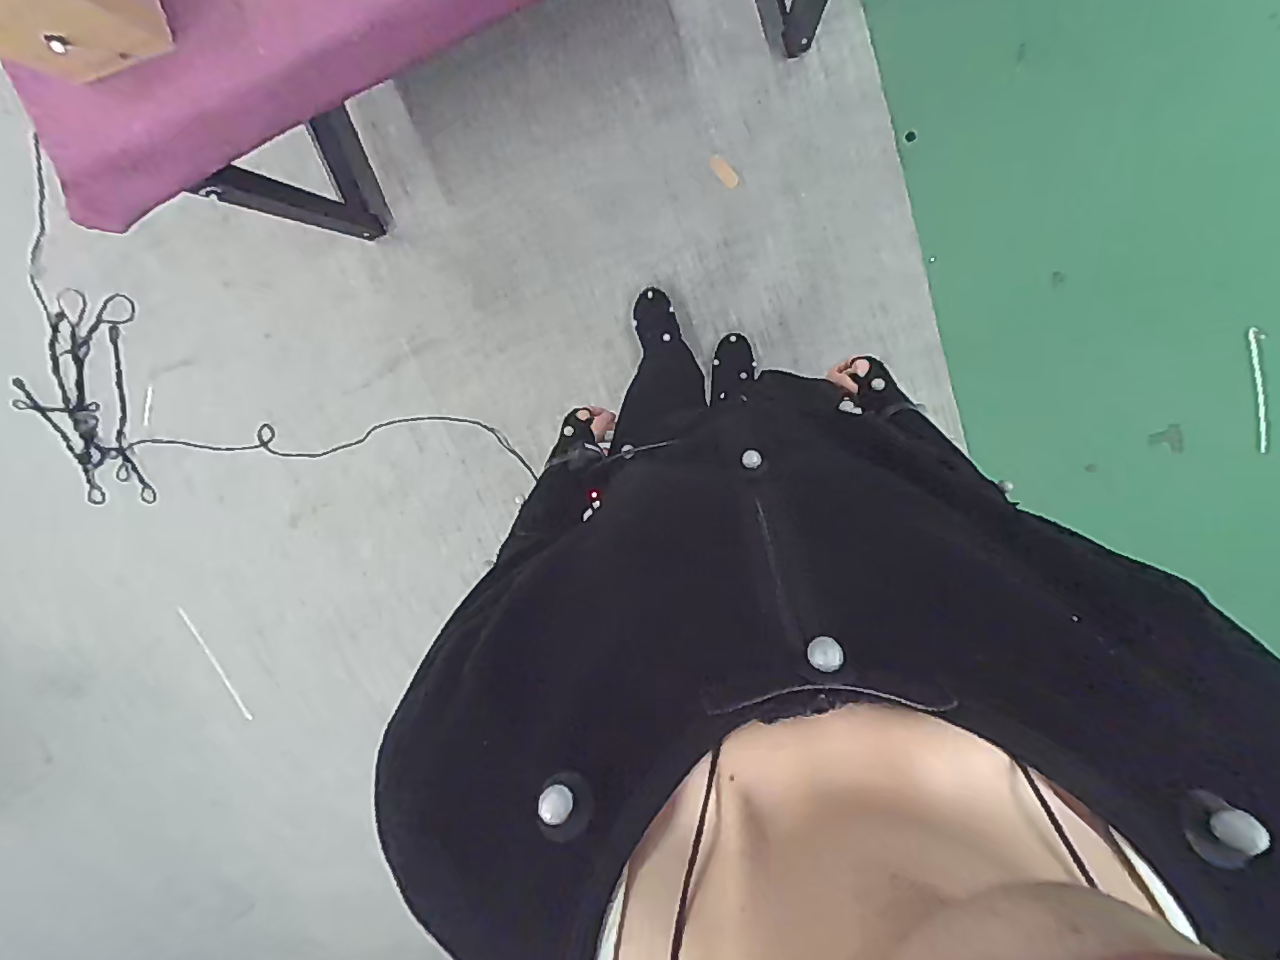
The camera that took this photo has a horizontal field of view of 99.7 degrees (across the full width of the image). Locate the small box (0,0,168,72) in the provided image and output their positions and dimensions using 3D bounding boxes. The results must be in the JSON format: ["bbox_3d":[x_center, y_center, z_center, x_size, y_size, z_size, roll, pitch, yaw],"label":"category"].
[{"bbox_3d":[-0.698,-0.601,0.609,0.168,0.176,0.179,-10,104,8],"label":"small box"}]
